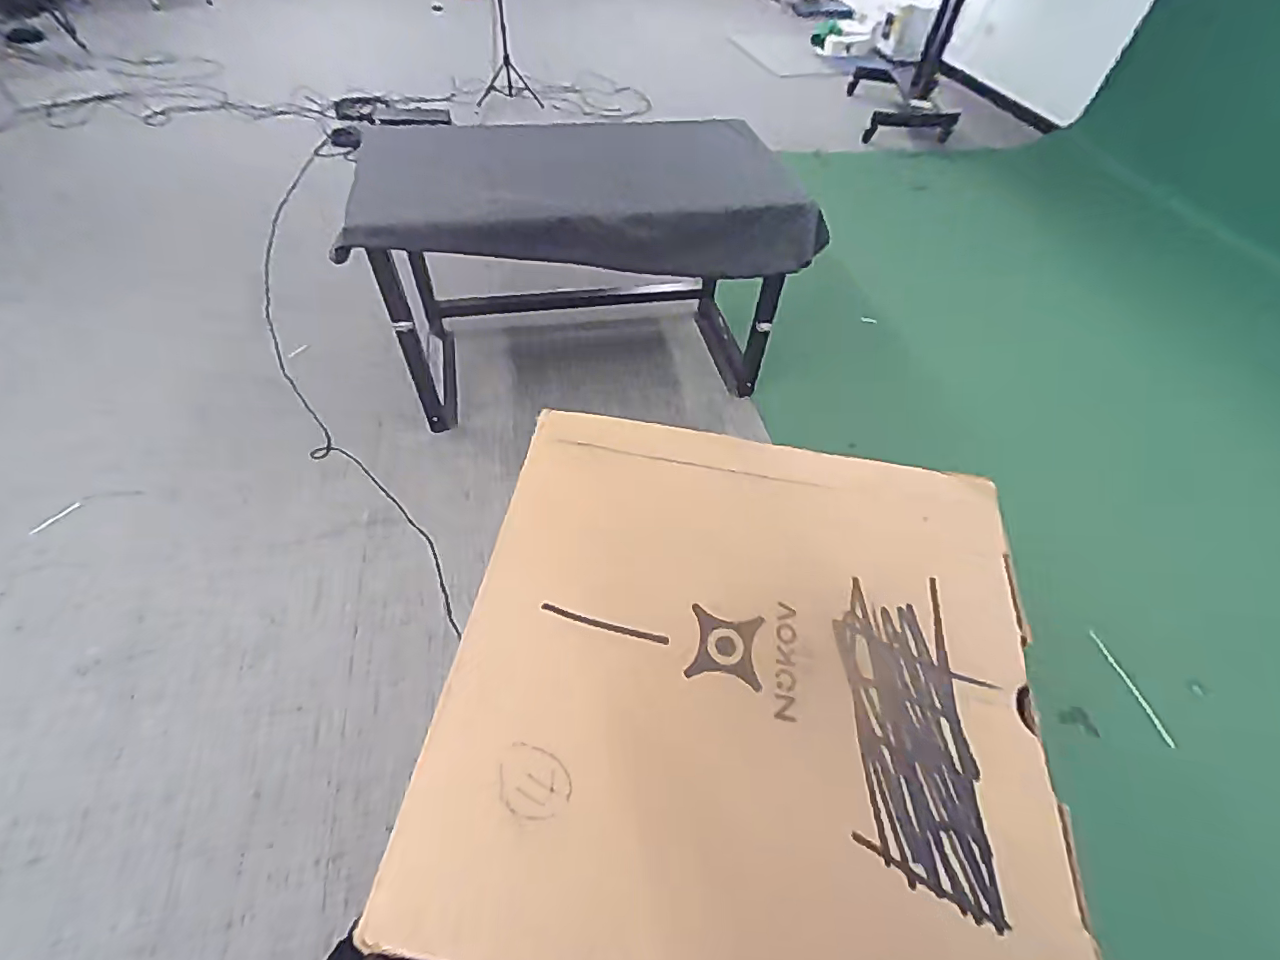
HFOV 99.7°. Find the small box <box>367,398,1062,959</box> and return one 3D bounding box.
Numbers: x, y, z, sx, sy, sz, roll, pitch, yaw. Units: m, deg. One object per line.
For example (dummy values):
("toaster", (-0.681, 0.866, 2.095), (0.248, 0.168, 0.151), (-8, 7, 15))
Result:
("small box", (0.025, 0.092, 0.240), (0.179, 0.176, 0.168), (10, 56, 3))
